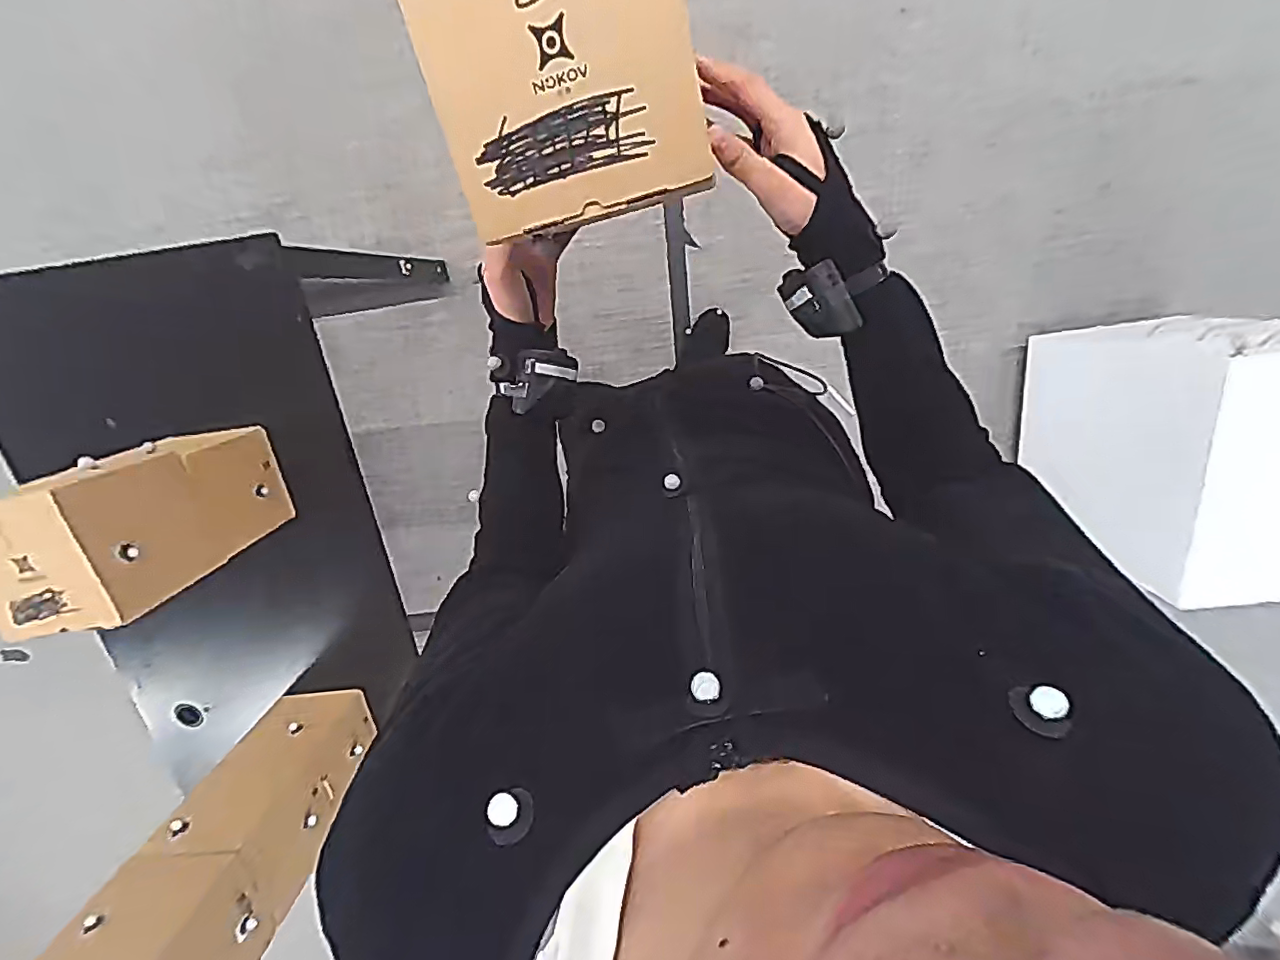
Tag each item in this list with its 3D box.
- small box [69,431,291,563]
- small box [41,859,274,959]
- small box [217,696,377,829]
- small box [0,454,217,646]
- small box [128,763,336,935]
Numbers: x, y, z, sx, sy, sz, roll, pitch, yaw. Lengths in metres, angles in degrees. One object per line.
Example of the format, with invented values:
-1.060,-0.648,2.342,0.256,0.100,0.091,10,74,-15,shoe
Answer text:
-0.703,0.029,0.849,0.179,0.176,0.168,-7,109,4,small box
-0.639,0.638,0.712,0.179,0.176,0.168,-8,110,4,small box
-0.627,0.531,1.021,0.179,0.176,0.168,-8,108,4,small box
-0.703,0.082,0.693,0.168,0.176,0.179,-10,108,5,small box
-0.634,0.586,0.866,0.179,0.176,0.168,-7,109,4,small box
